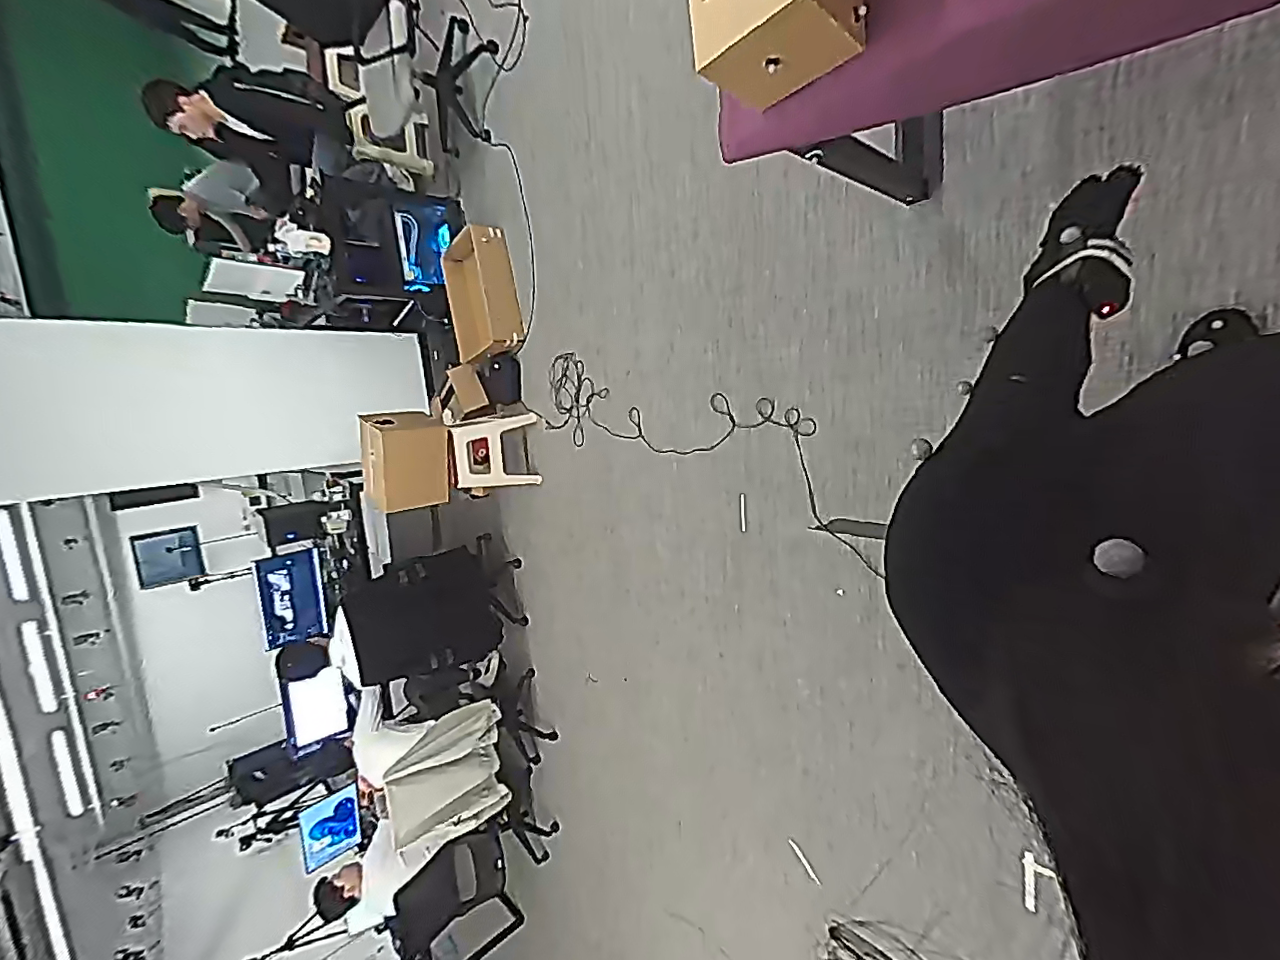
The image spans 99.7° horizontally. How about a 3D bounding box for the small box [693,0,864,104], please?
[{"bbox_3d":[0.192,-0.667,0.743,0.179,0.176,0.168,-2,96,48],"label":"small box"}]
